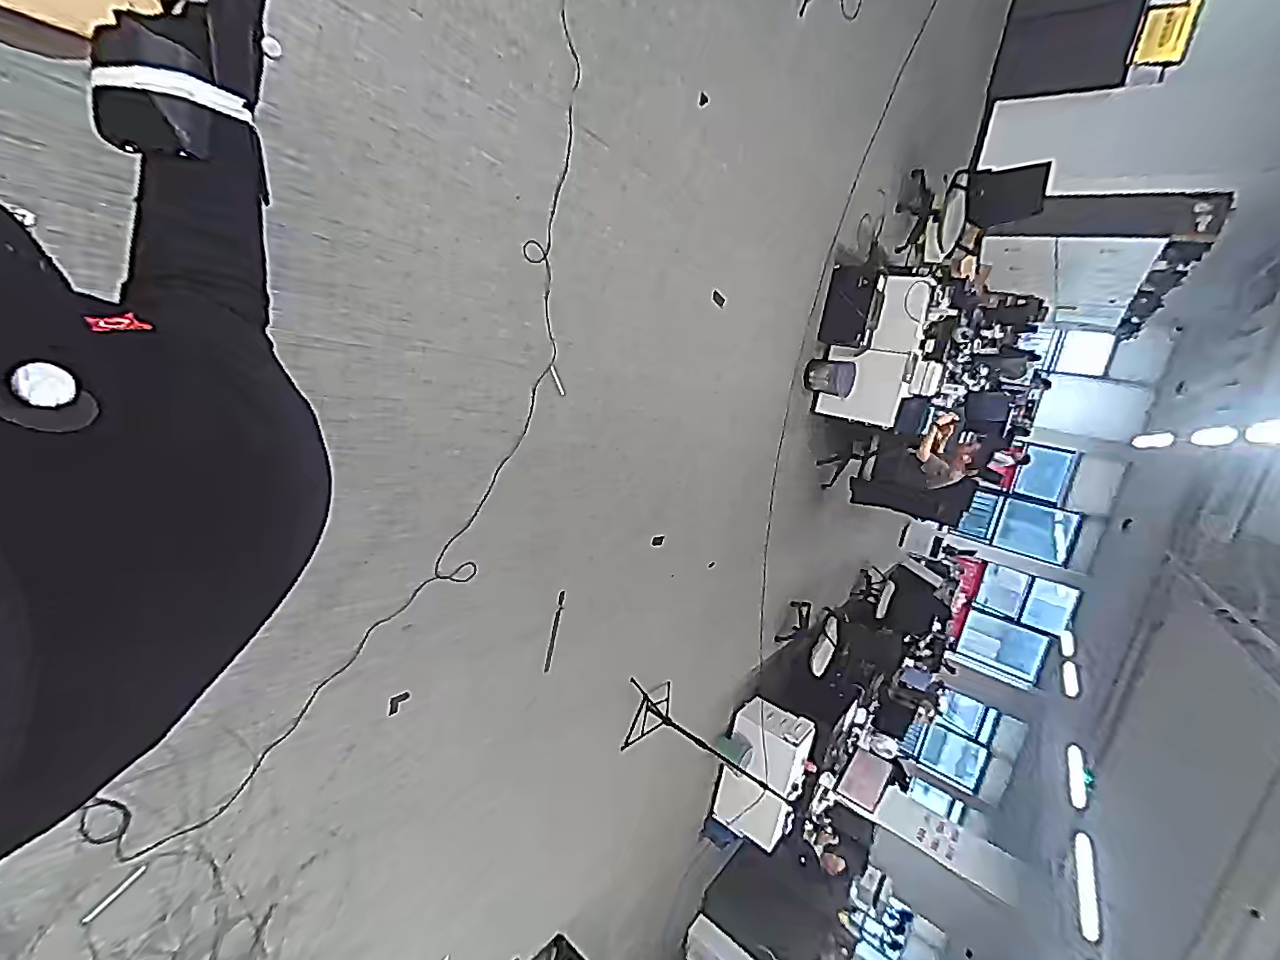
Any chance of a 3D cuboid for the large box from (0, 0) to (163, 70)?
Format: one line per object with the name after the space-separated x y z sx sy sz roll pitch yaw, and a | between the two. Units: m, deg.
-0.522 -0.445 0.233 0.408 0.320 0.320 -14 125 -54 | large box
